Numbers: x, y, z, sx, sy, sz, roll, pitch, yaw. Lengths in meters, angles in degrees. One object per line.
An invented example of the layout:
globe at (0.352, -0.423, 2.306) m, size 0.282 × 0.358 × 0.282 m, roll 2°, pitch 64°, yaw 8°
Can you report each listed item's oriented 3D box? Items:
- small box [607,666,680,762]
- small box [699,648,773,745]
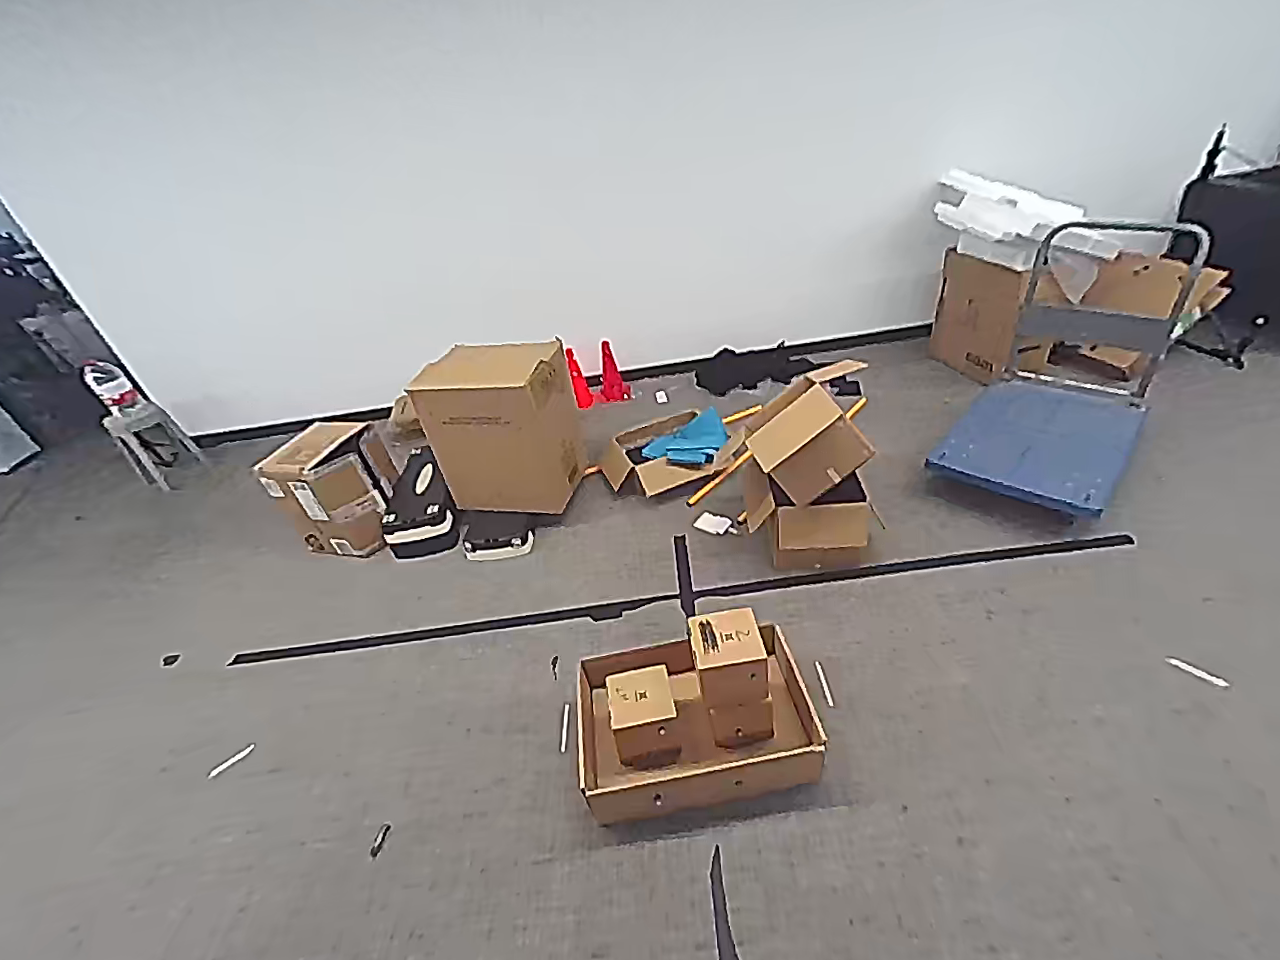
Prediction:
small box at (0.011, 0.652, 1.505) m, size 0.179 × 0.176 × 0.168 m, roll -11°, pitch 34°, yaw -3°
small box at (0.266, 0.605, 1.511) m, size 0.168 × 0.176 × 0.179 m, roll -12°, pitch 35°, yaw 0°
